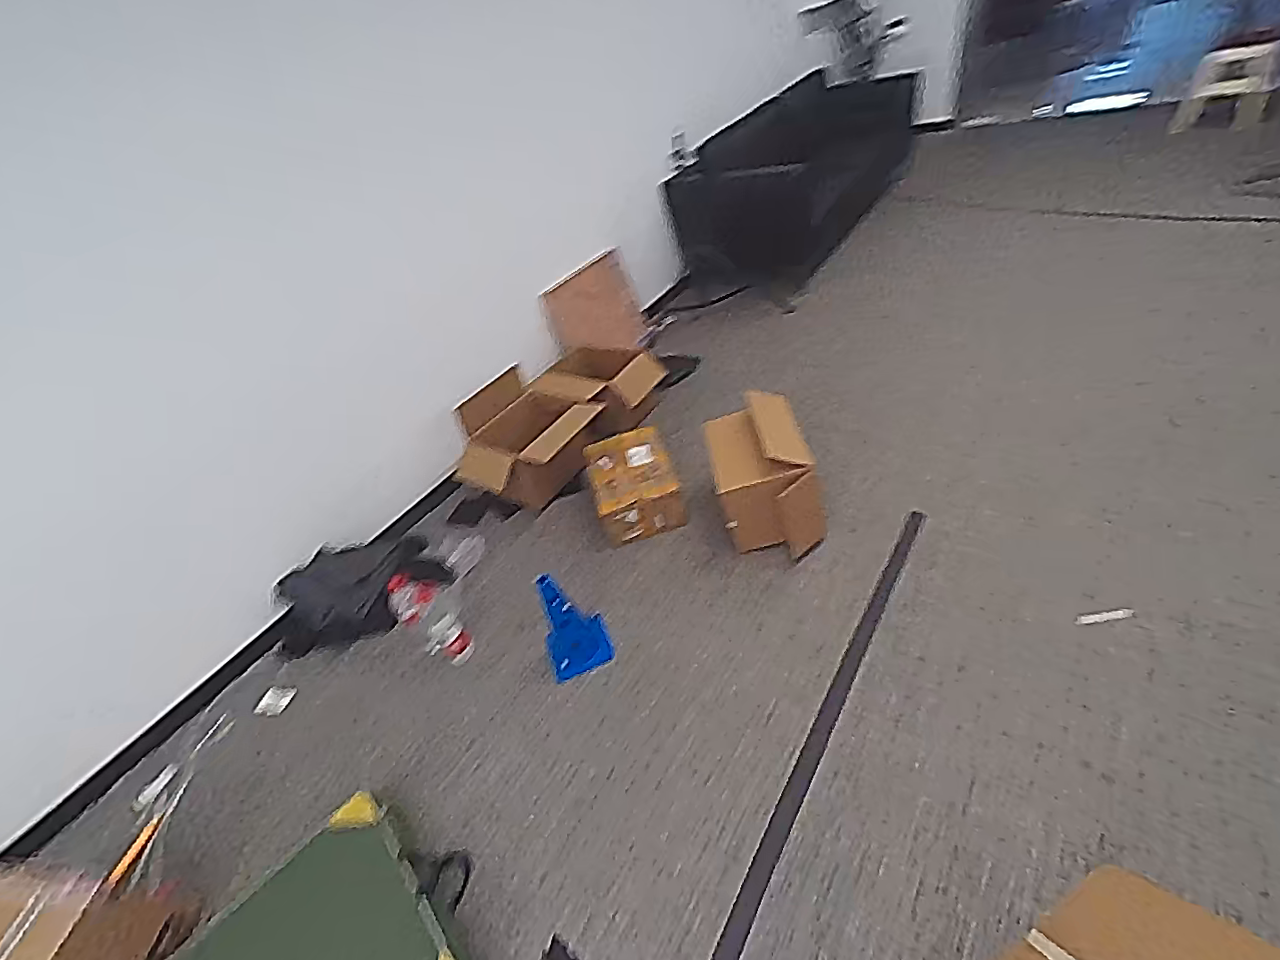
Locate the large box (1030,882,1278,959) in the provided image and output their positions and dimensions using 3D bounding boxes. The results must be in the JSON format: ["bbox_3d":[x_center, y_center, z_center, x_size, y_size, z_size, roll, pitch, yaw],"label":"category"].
[{"bbox_3d":[0.635,0.709,0.510,0.320,0.408,0.320,-33,79,-8],"label":"large box"}]
